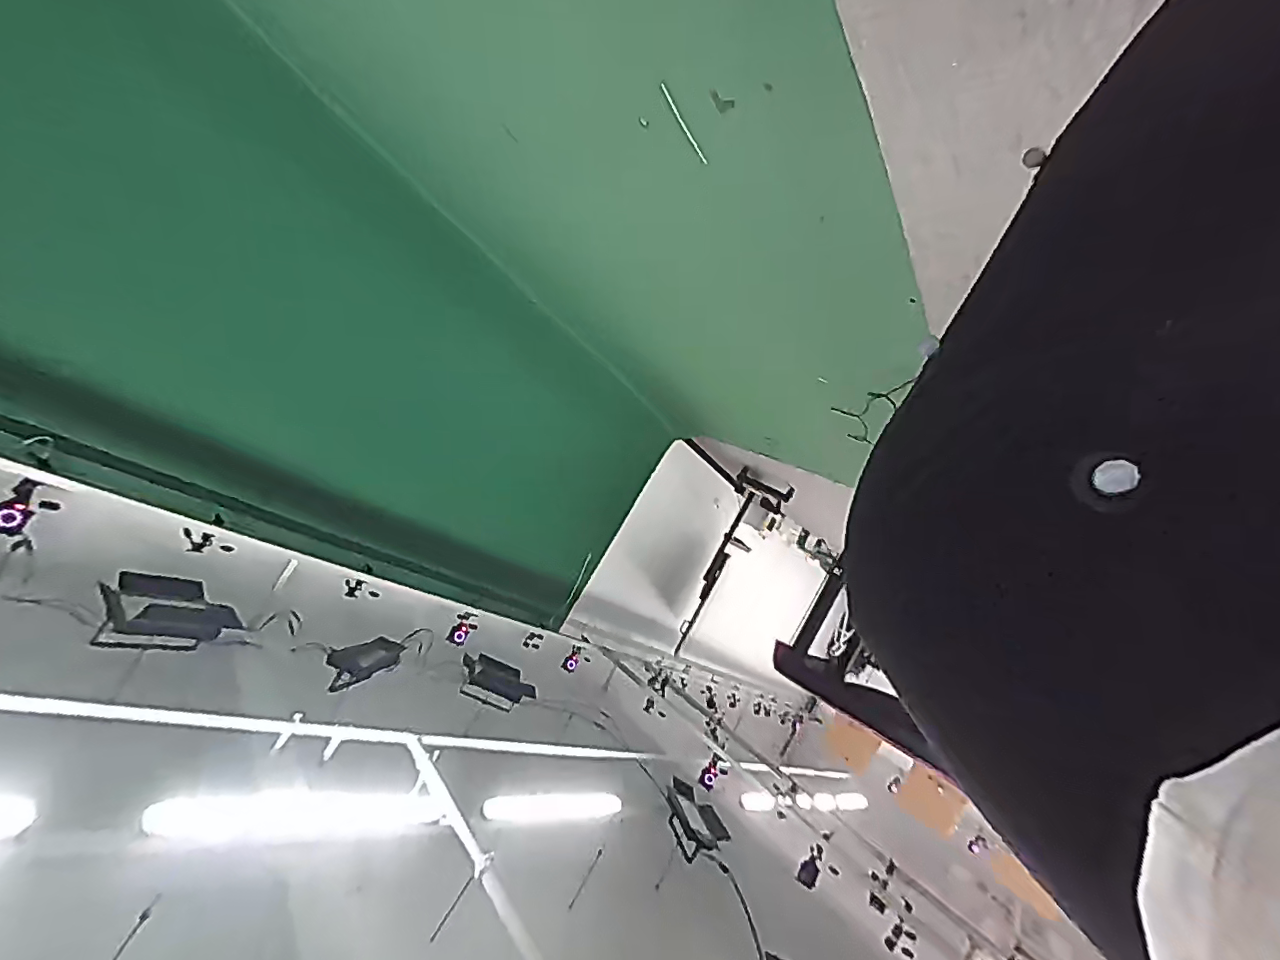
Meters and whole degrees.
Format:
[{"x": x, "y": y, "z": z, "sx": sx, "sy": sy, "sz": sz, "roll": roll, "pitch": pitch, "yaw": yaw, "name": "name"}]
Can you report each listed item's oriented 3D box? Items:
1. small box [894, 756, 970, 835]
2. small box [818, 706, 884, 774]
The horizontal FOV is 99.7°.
[{"x": 0.995, "y": 1.061, "z": 1.833, "sx": 0.168, "sy": 0.176, "sz": 0.179, "roll": 24, "pitch": 172, "yaw": 42, "name": "small box"}, {"x": 0.800, "y": 0.971, "z": 2.035, "sx": 0.168, "sy": 0.176, "sz": 0.179, "roll": 25, "pitch": 174, "yaw": 36, "name": "small box"}]
